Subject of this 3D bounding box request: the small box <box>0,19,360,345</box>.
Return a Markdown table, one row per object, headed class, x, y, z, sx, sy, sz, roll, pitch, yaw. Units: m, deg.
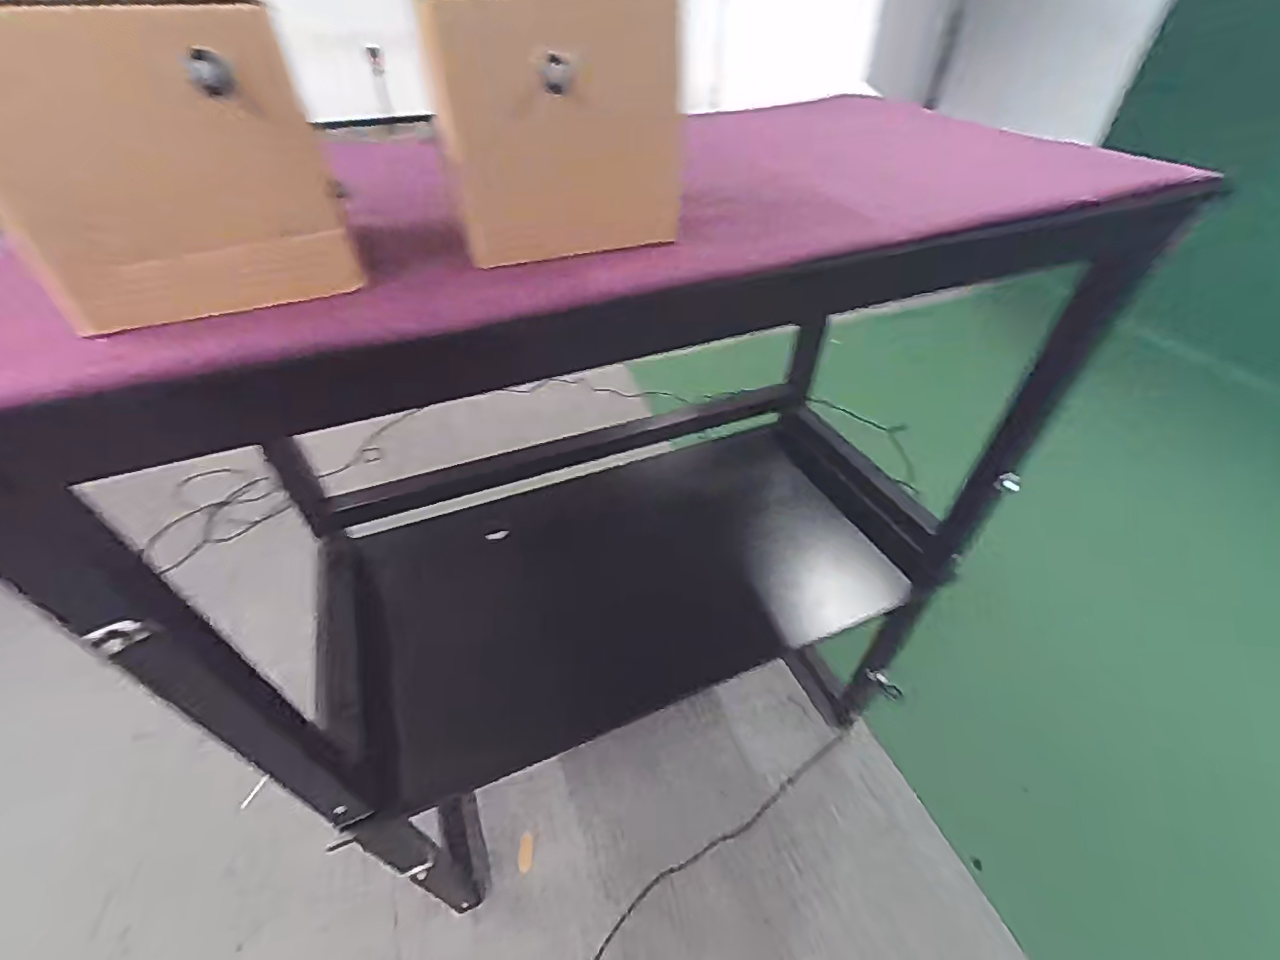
| class | x | y | z | sx | sy | sz | roll | pitch | yaw |
| --- | --- | --- | --- | --- | --- | --- | --- | --- | --- |
| small box | -0.327 | -0.215 | 0.386 | 0.179 | 0.176 | 0.168 | -19 | 45 | -19 |
